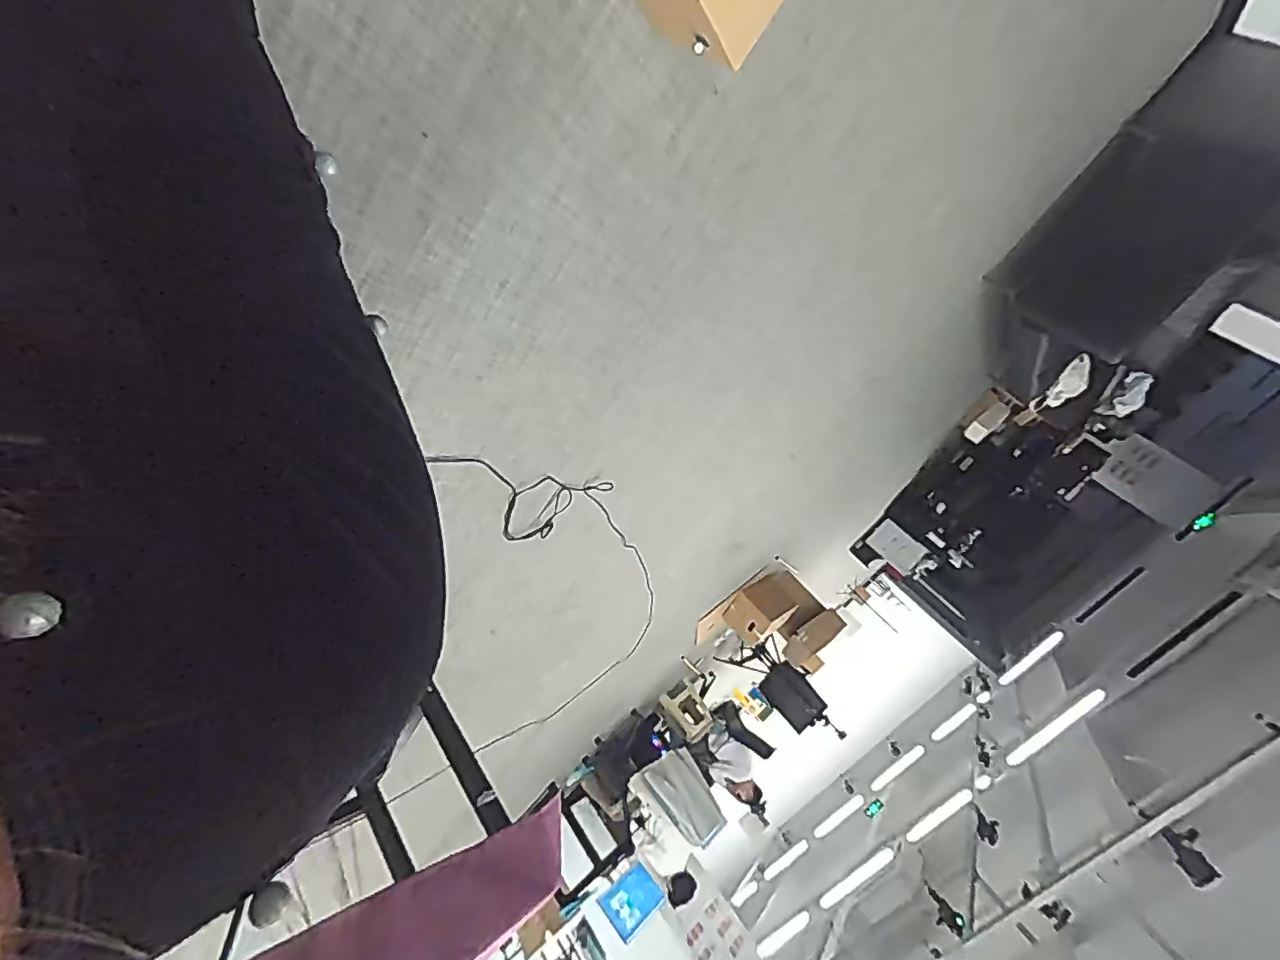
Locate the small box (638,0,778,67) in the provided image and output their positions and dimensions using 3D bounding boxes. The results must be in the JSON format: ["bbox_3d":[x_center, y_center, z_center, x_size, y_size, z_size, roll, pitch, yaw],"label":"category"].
[{"bbox_3d":[0.086,-0.703,0.705,0.168,0.176,0.179,-53,152,16],"label":"small box"}]
